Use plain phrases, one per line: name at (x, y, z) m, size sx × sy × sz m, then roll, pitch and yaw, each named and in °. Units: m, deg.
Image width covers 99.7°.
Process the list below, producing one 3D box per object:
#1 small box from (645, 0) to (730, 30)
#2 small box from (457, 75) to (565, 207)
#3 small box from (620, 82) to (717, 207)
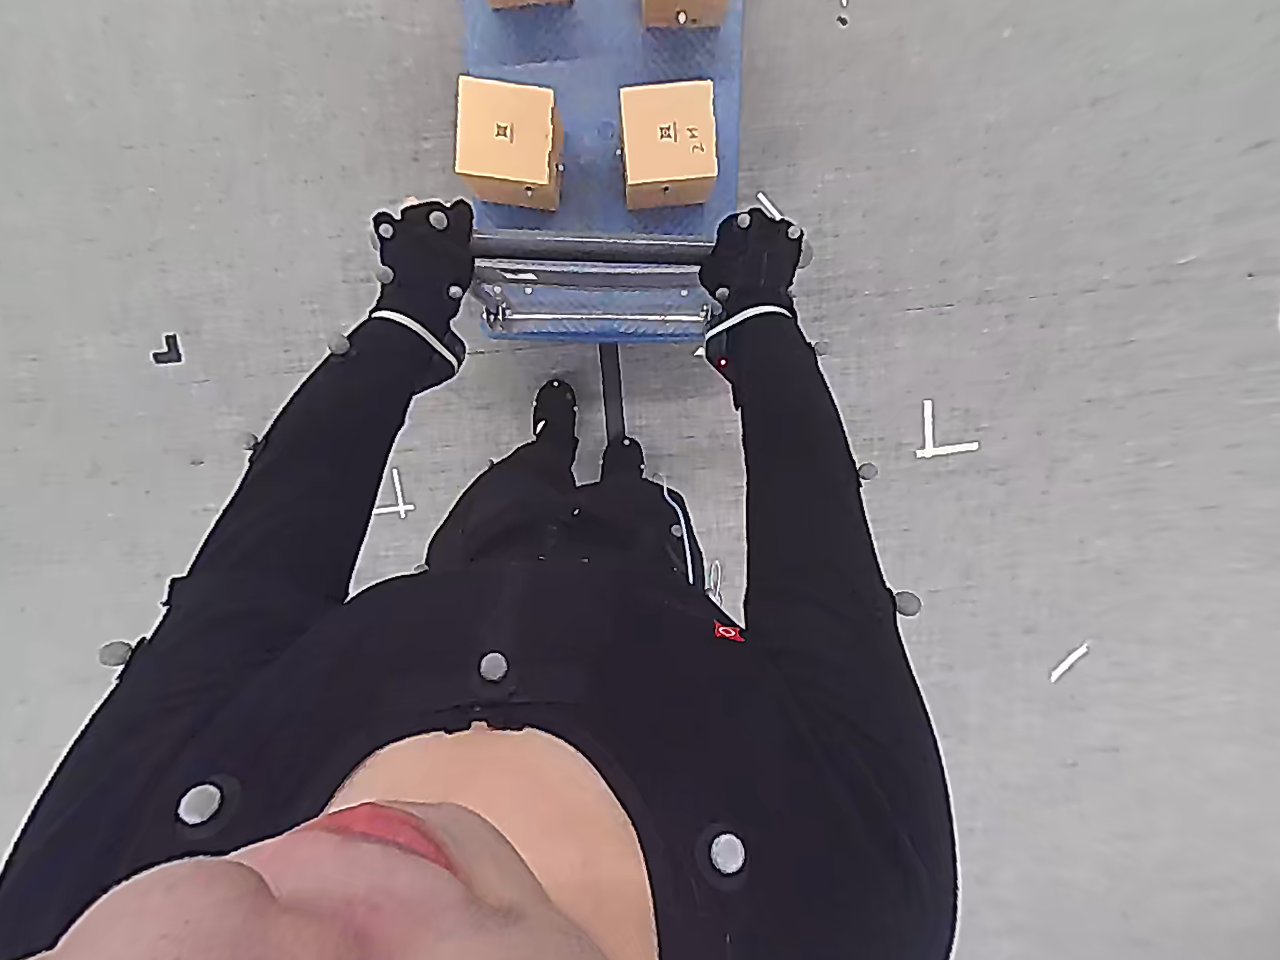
small box at (0.094, -1.008, 1.026) m, size 0.168 × 0.176 × 0.179 m, roll -1°, pitch 103°, yaw -2°
small box at (-0.252, -0.668, 1.086) m, size 0.179 × 0.176 × 0.168 m, roll 6°, pitch 101°, yaw -4°
small box at (0.055, -0.668, 1.095) m, size 0.179 × 0.176 × 0.168 m, roll -5°, pitch 102°, yaw -1°
